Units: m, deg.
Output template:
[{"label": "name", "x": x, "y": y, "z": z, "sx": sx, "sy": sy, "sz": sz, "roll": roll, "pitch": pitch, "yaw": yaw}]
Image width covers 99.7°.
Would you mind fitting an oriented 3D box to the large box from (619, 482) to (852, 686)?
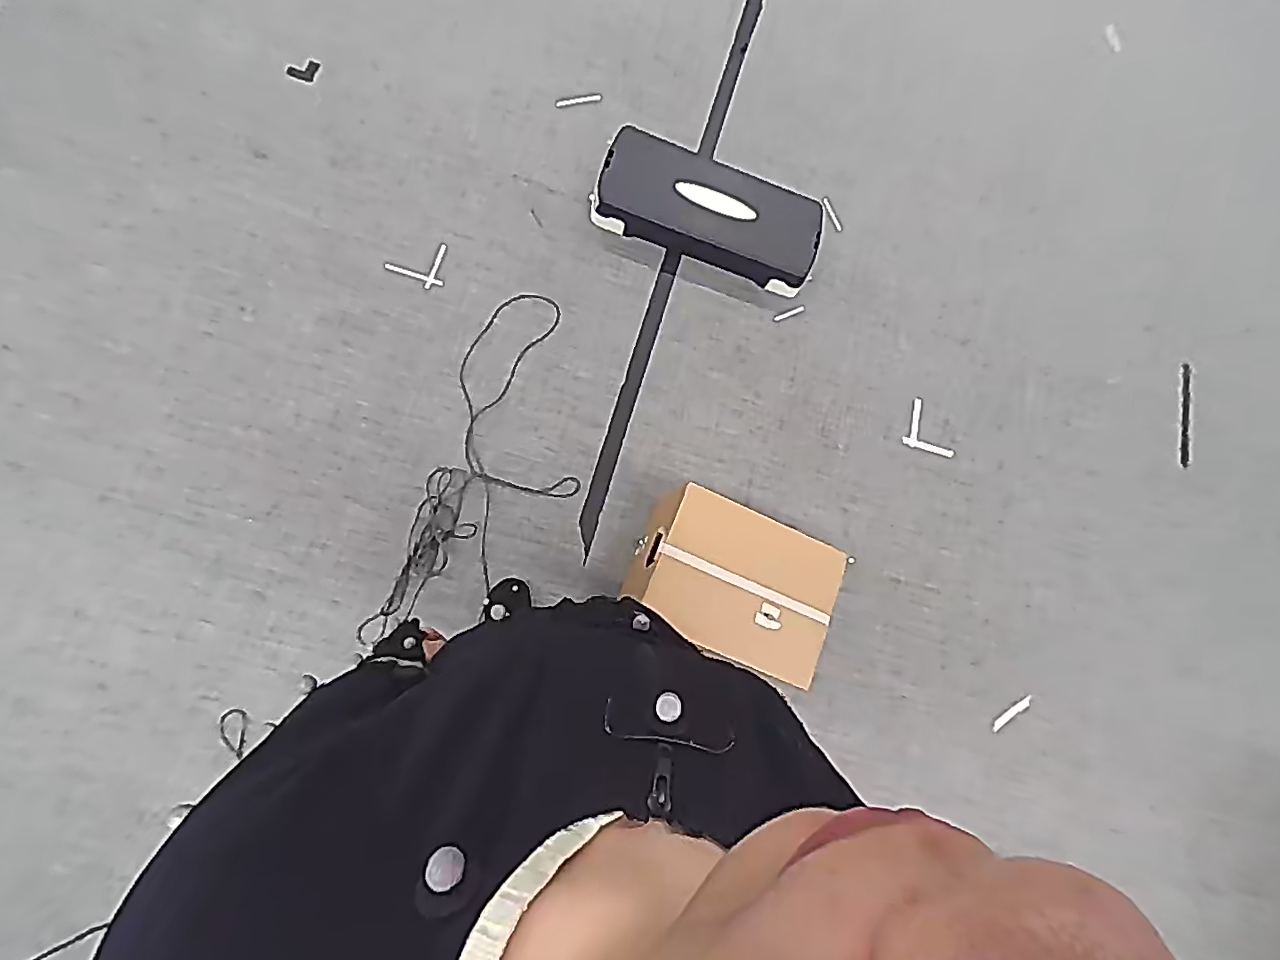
[{"label": "large box", "x": 0.205, "y": 0.241, "z": 1.276, "sx": 0.408, "sy": 0.320, "sz": 0.320, "roll": 24, "pitch": 77, "yaw": -7}]
